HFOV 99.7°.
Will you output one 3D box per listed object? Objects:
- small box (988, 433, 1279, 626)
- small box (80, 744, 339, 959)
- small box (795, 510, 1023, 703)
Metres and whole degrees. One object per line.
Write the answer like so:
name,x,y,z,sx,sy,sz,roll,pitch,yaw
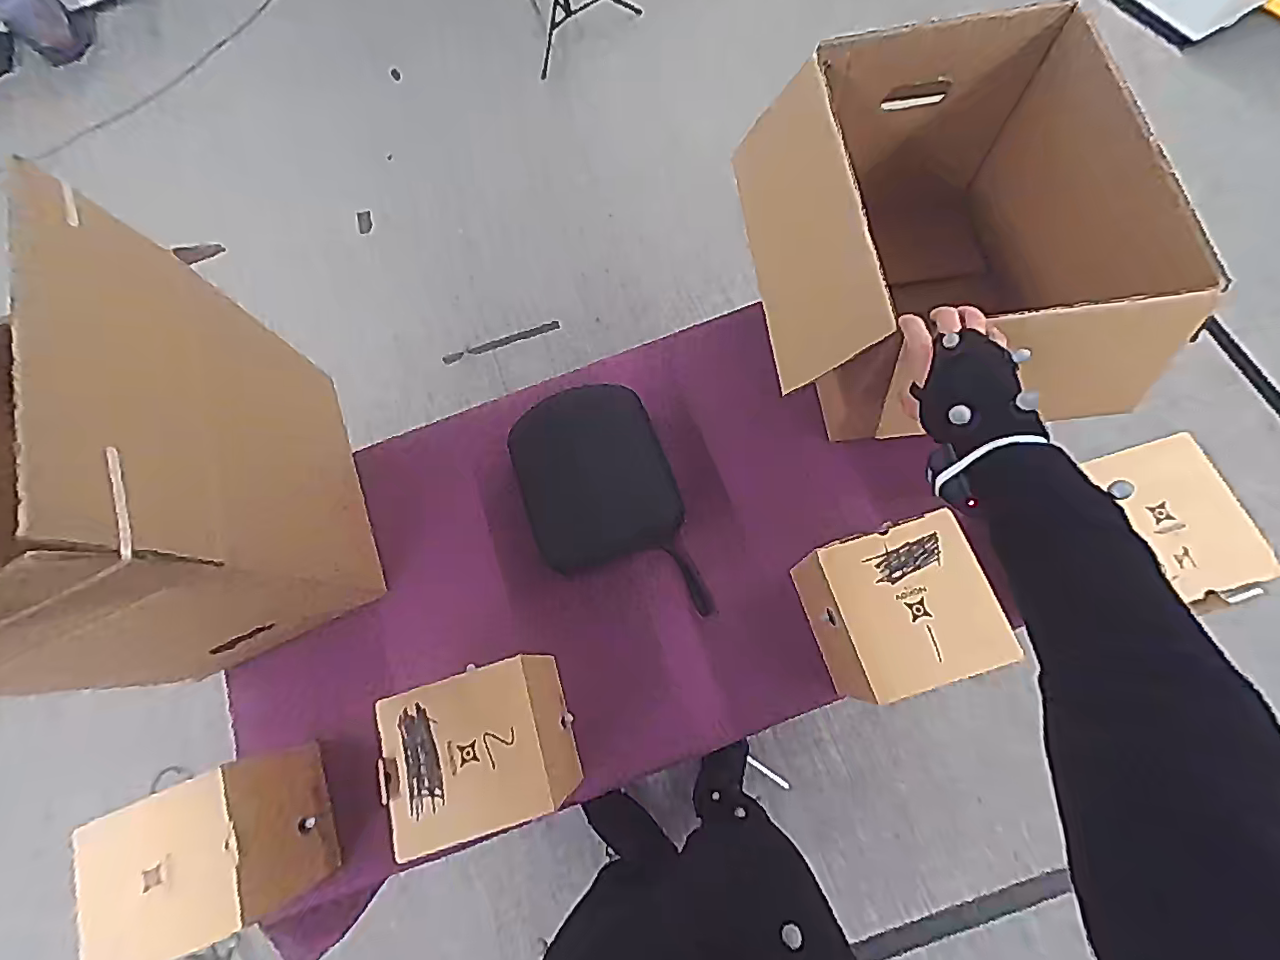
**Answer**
small box,0.578,0.070,0.666,0.168,0.176,0.179,-17,71,1
small box,-0.509,0.445,0.656,0.179,0.176,0.168,-23,71,-3
small box,0.307,0.158,0.667,0.168,0.176,0.179,-18,72,0
